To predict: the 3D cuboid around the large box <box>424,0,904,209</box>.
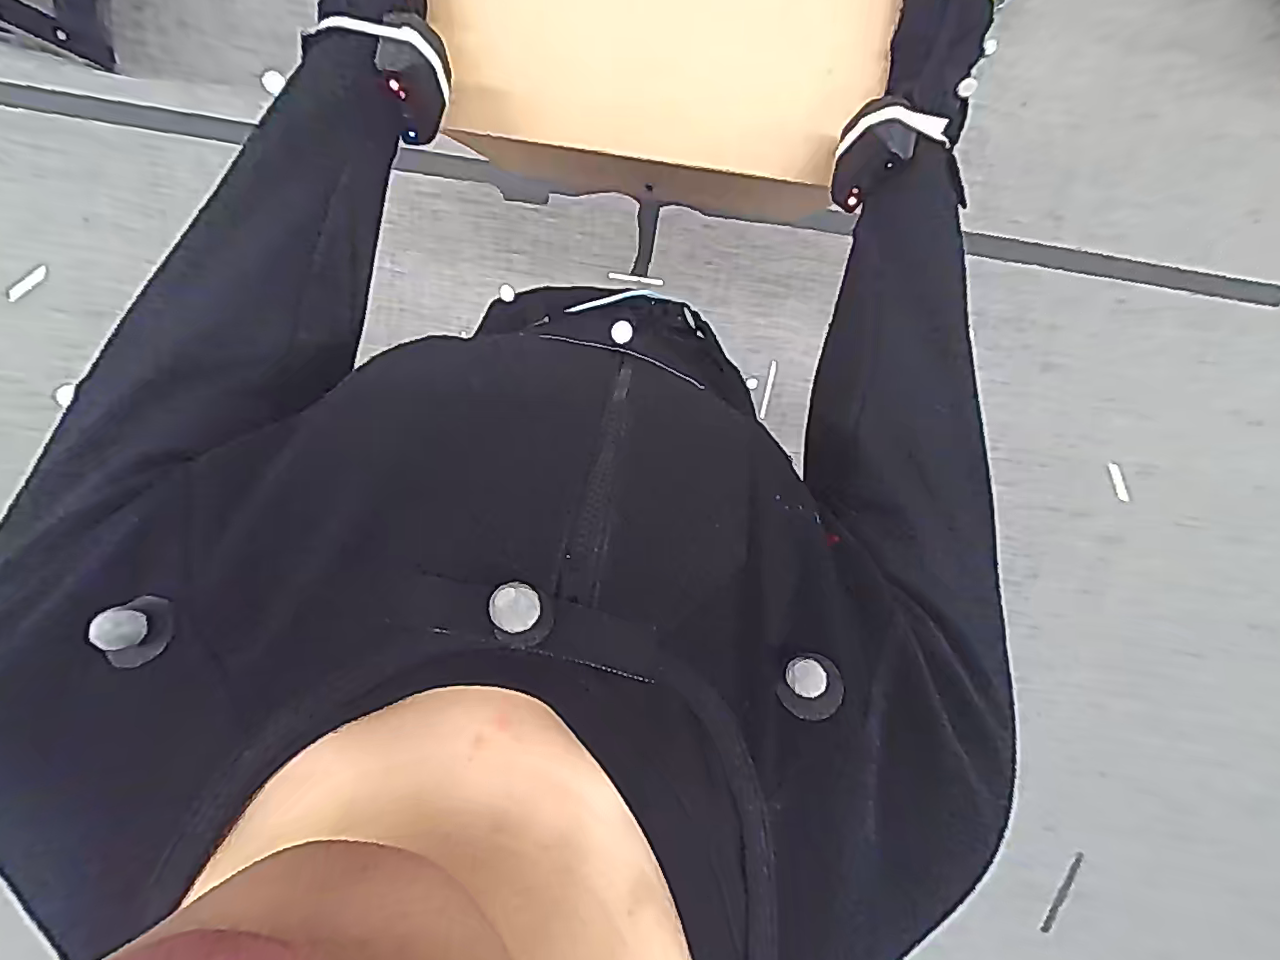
[{"bbox_3d":[0.034,-0.491,0.569,0.408,0.320,0.320,10,111,0],"label":"large box"}]
